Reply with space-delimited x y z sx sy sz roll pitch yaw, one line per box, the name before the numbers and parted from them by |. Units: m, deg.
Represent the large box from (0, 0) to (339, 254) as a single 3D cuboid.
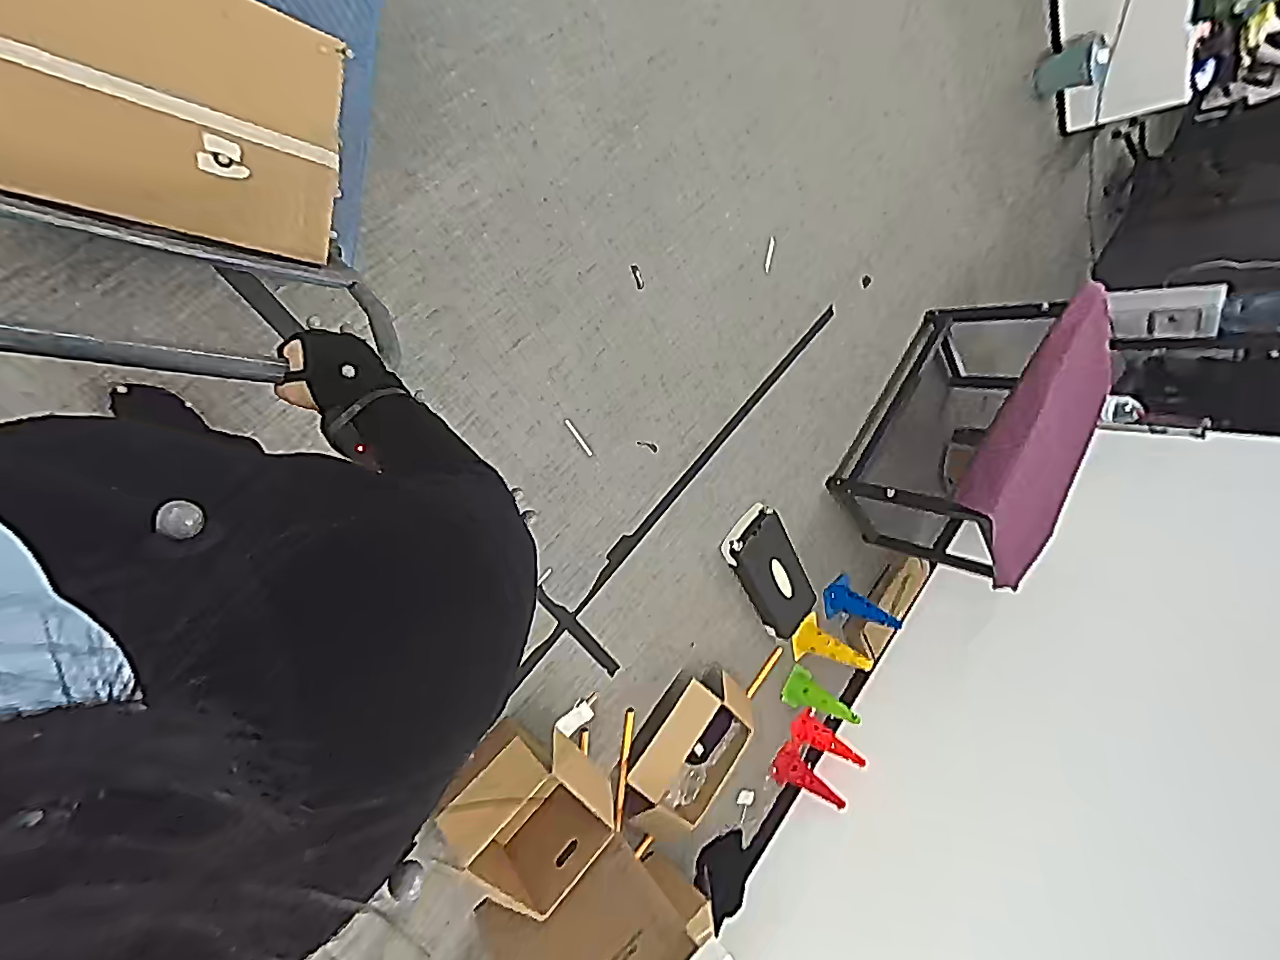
large box | -0.720 -0.566 0.815 0.408 0.320 0.320 2 113 -40
